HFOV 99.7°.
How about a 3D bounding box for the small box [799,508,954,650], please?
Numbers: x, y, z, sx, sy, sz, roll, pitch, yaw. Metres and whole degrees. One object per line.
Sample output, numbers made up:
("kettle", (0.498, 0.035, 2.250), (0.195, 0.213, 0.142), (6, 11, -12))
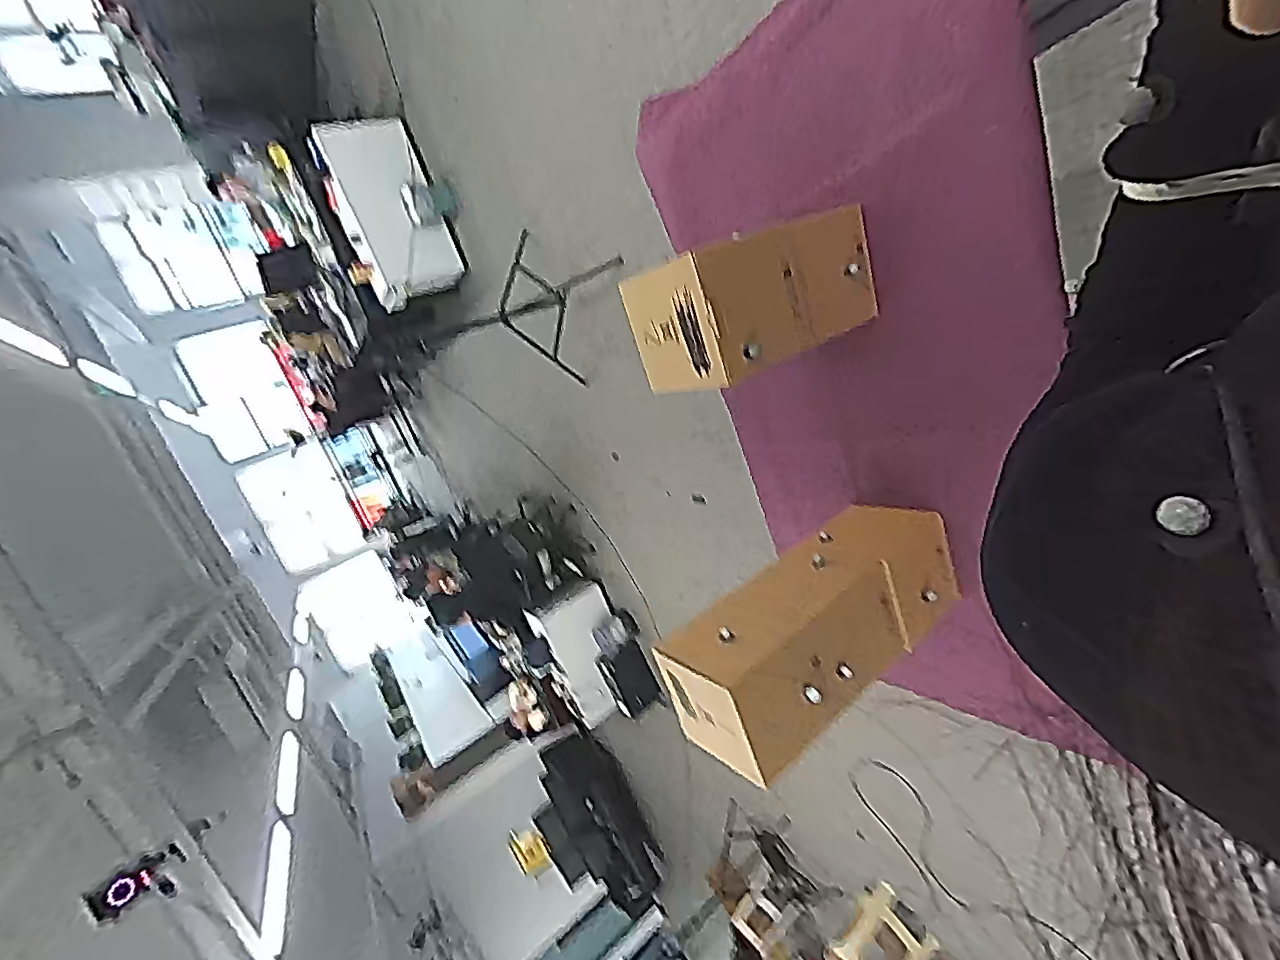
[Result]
("small box", (0.414, 0.158, 0.936), (0.179, 0.176, 0.168), (3, 117, 59))

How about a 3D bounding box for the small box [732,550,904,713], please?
("small box", (0.283, 0.227, 0.865), (0.179, 0.176, 0.168), (2, 117, 60))

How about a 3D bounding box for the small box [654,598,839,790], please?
("small box", (0.154, 0.292, 0.785), (0.179, 0.176, 0.168), (2, 117, 58))

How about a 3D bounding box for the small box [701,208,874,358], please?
("small box", (0.228, -0.299, 0.837), (0.179, 0.176, 0.168), (10, 124, 56))
